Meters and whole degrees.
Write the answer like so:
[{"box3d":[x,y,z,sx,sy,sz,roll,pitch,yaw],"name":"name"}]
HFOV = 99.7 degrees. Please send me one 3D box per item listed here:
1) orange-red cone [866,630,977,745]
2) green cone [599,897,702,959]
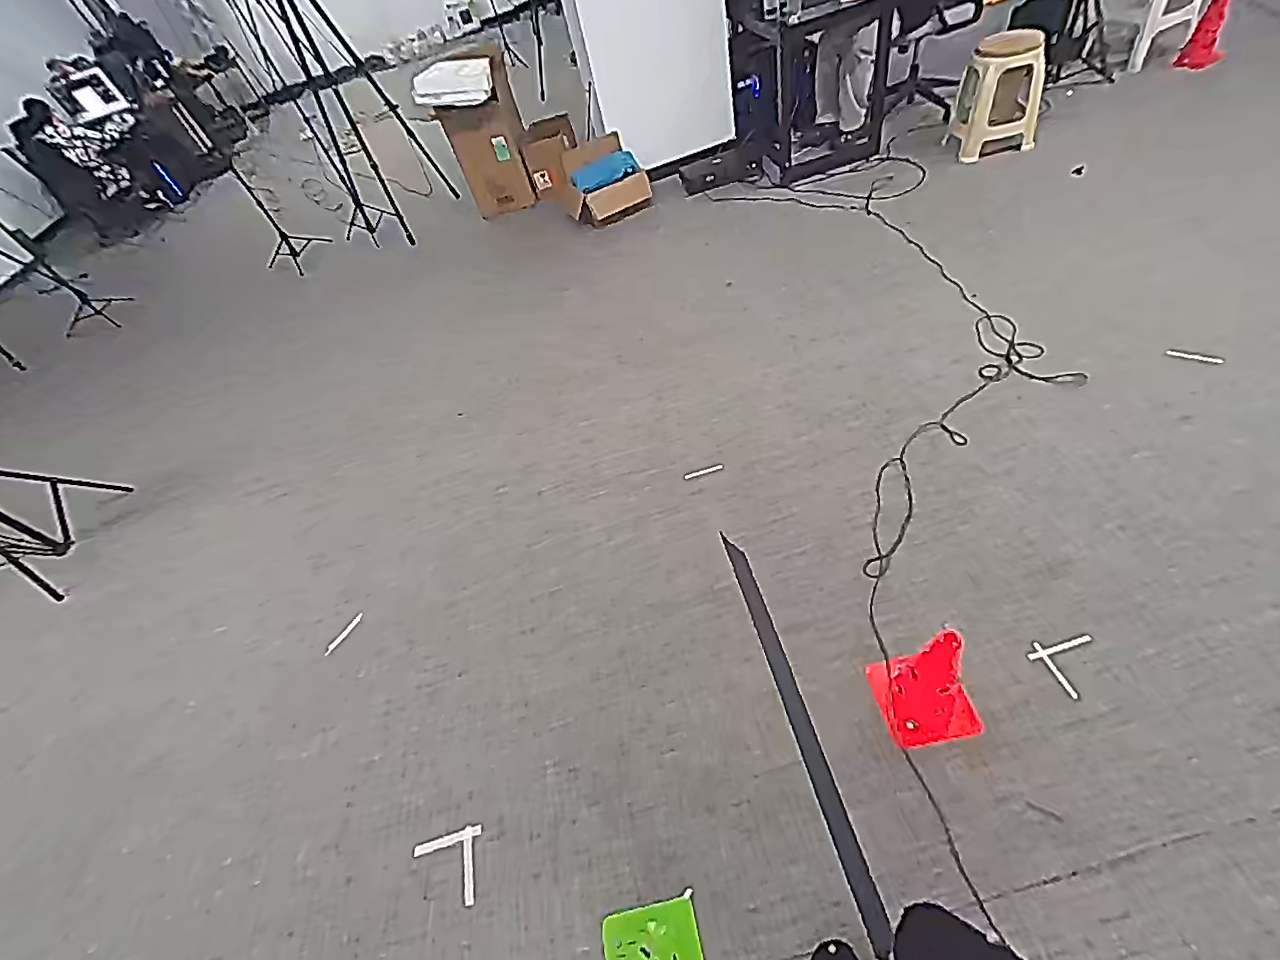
[{"box3d":[0.627,0.408,1.155,0.199,0.360,0.198,-13,50,4],"name":"orange-red cone"},{"box3d":[-0.015,0.868,0.956,0.202,0.368,0.200,-18,48,3],"name":"green cone"}]
